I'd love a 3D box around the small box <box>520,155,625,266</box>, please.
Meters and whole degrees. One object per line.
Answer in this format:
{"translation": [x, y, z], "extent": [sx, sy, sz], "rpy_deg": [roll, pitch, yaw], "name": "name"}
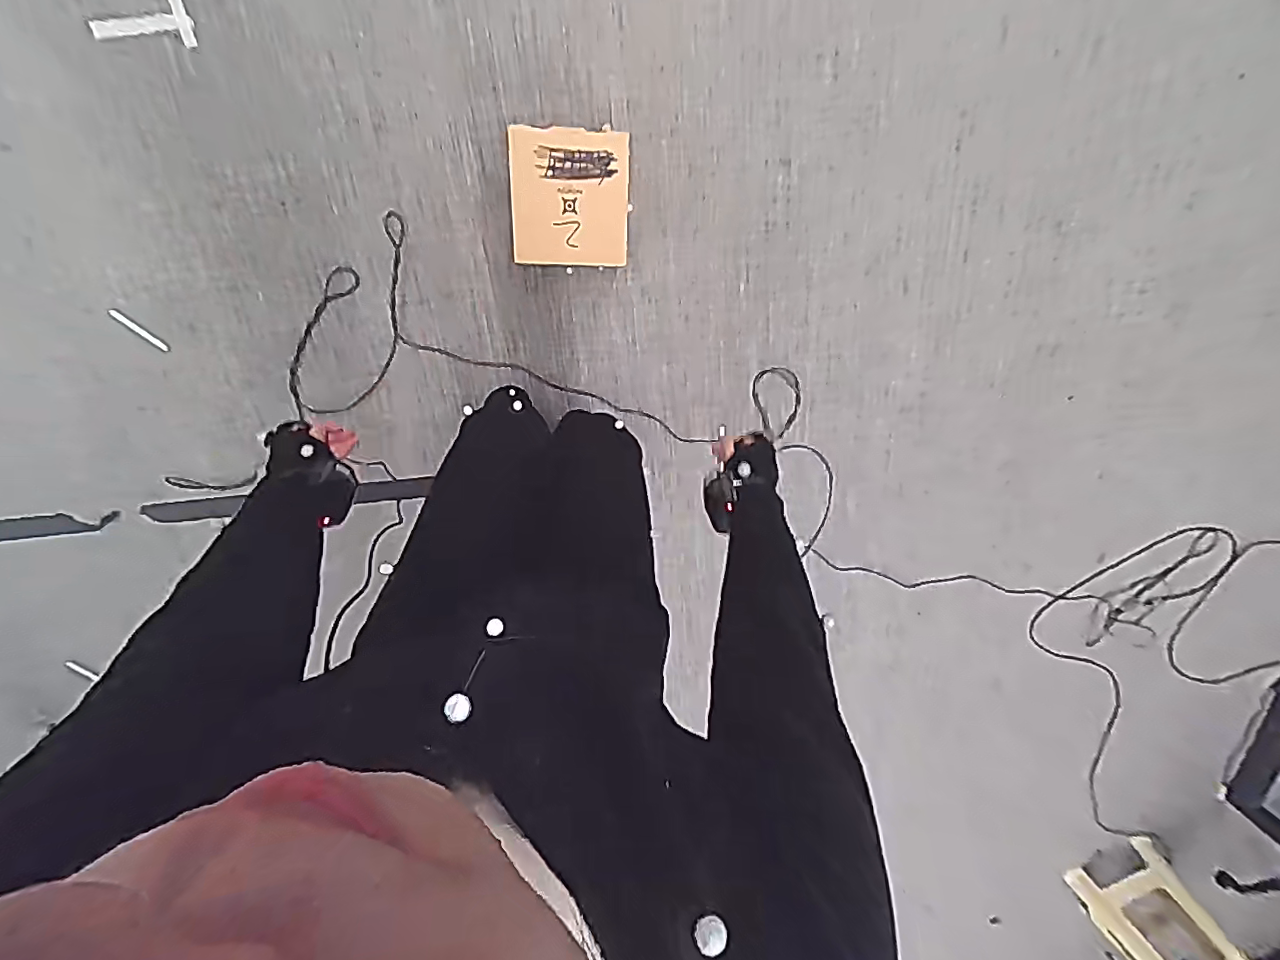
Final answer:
{"translation": [-0.119, -0.484, 0.992], "extent": [0.179, 0.176, 0.168], "rpy_deg": [-2, 112, -6], "name": "small box"}
